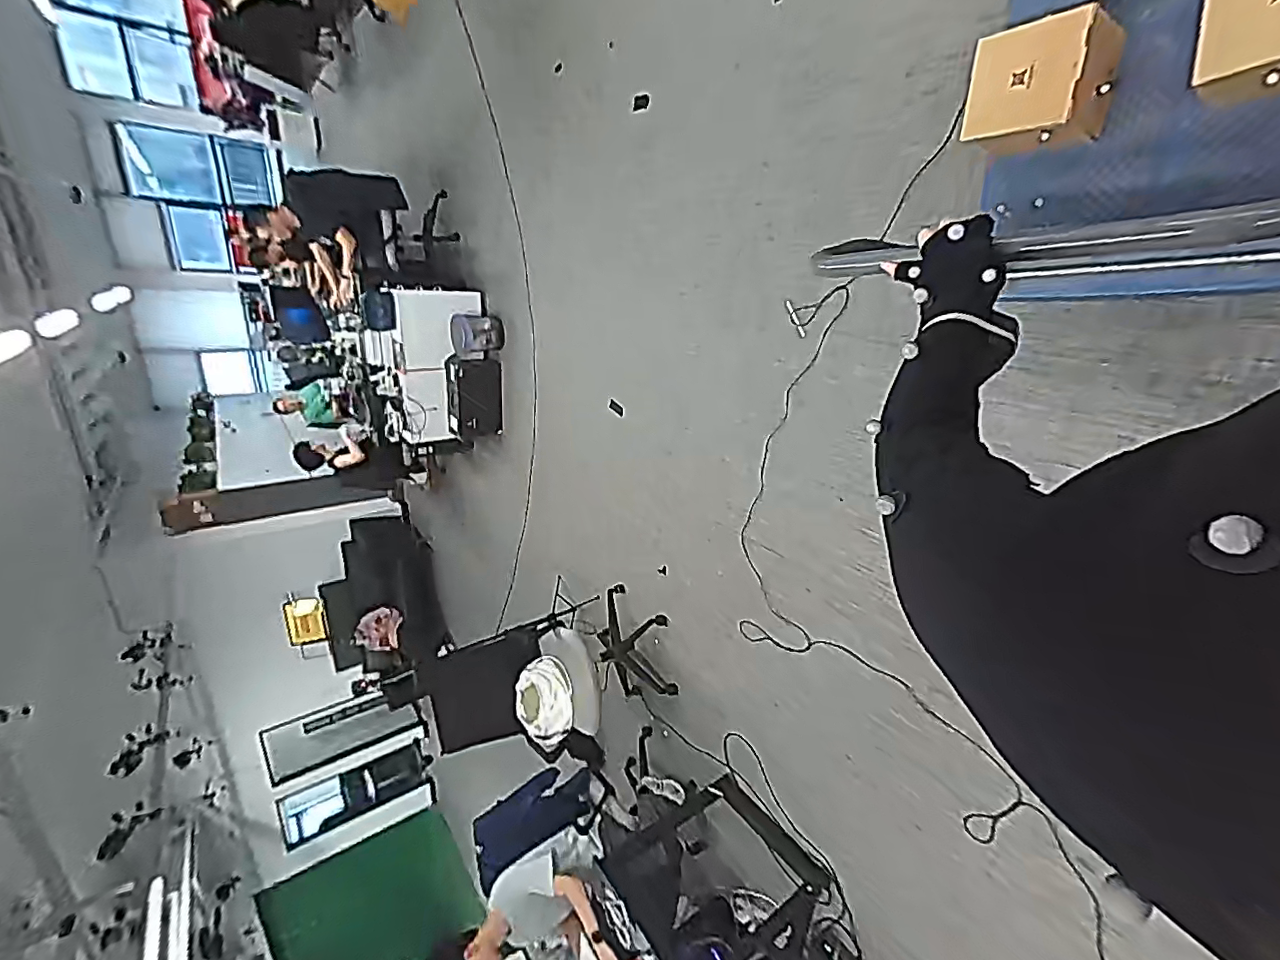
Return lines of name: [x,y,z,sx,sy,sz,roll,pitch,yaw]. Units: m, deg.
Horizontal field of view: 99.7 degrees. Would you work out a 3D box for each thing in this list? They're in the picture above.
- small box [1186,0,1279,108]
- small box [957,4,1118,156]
small box: [0.908,-0.649,0.747,0.179,0.176,0.168,14,112,52]
small box: [0.722,-0.710,0.986,0.179,0.176,0.168,23,117,48]
